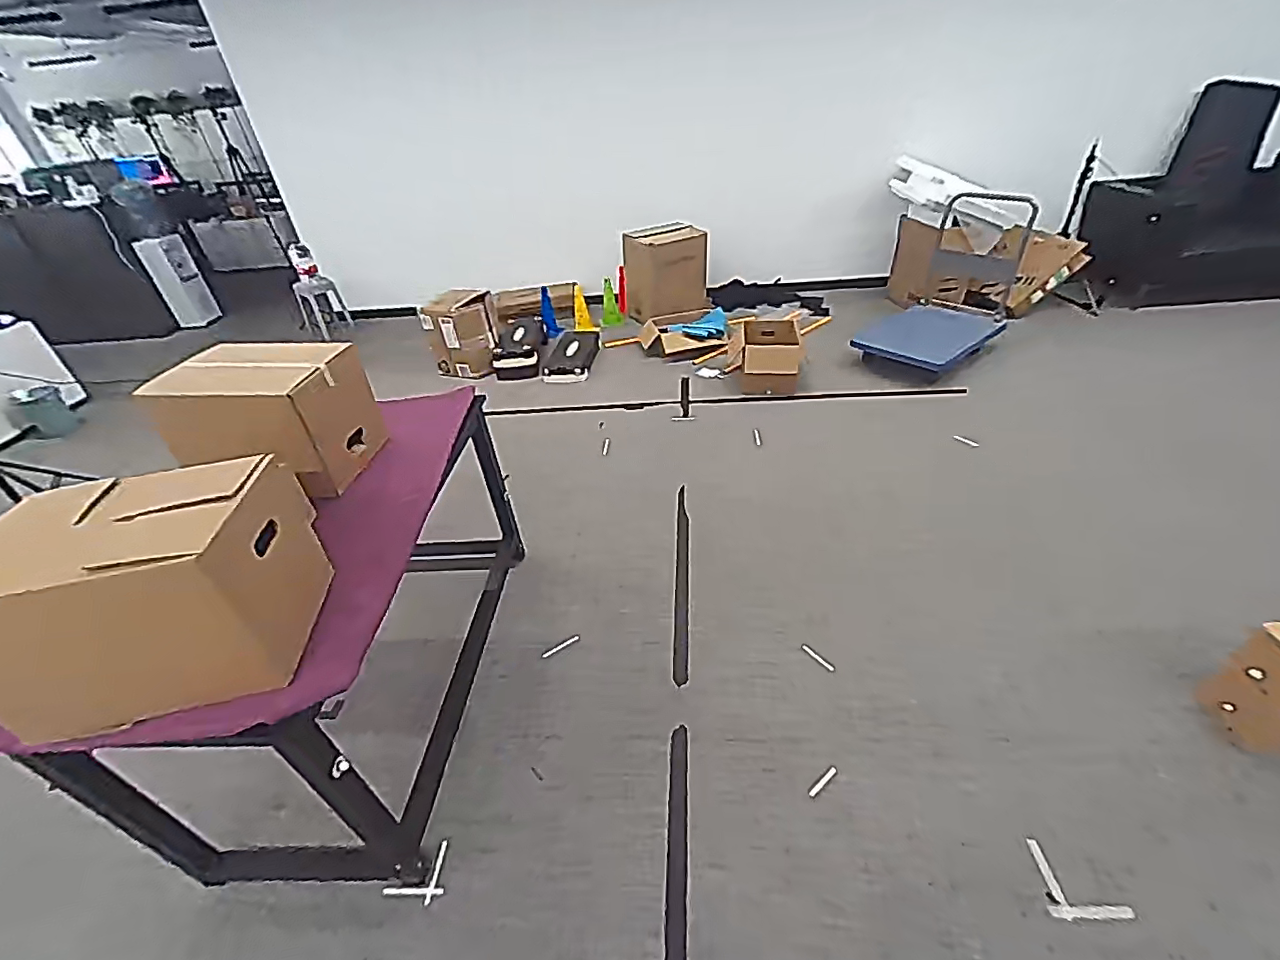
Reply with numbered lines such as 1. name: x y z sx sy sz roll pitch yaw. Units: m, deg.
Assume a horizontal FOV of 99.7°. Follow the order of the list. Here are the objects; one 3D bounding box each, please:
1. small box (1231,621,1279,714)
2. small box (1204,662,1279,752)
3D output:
1. small box: 1.658 0.467 1.338 0.179 0.176 0.168 -4 35 4
2. small box: 1.670 0.599 1.433 0.179 0.176 0.168 -4 36 2
